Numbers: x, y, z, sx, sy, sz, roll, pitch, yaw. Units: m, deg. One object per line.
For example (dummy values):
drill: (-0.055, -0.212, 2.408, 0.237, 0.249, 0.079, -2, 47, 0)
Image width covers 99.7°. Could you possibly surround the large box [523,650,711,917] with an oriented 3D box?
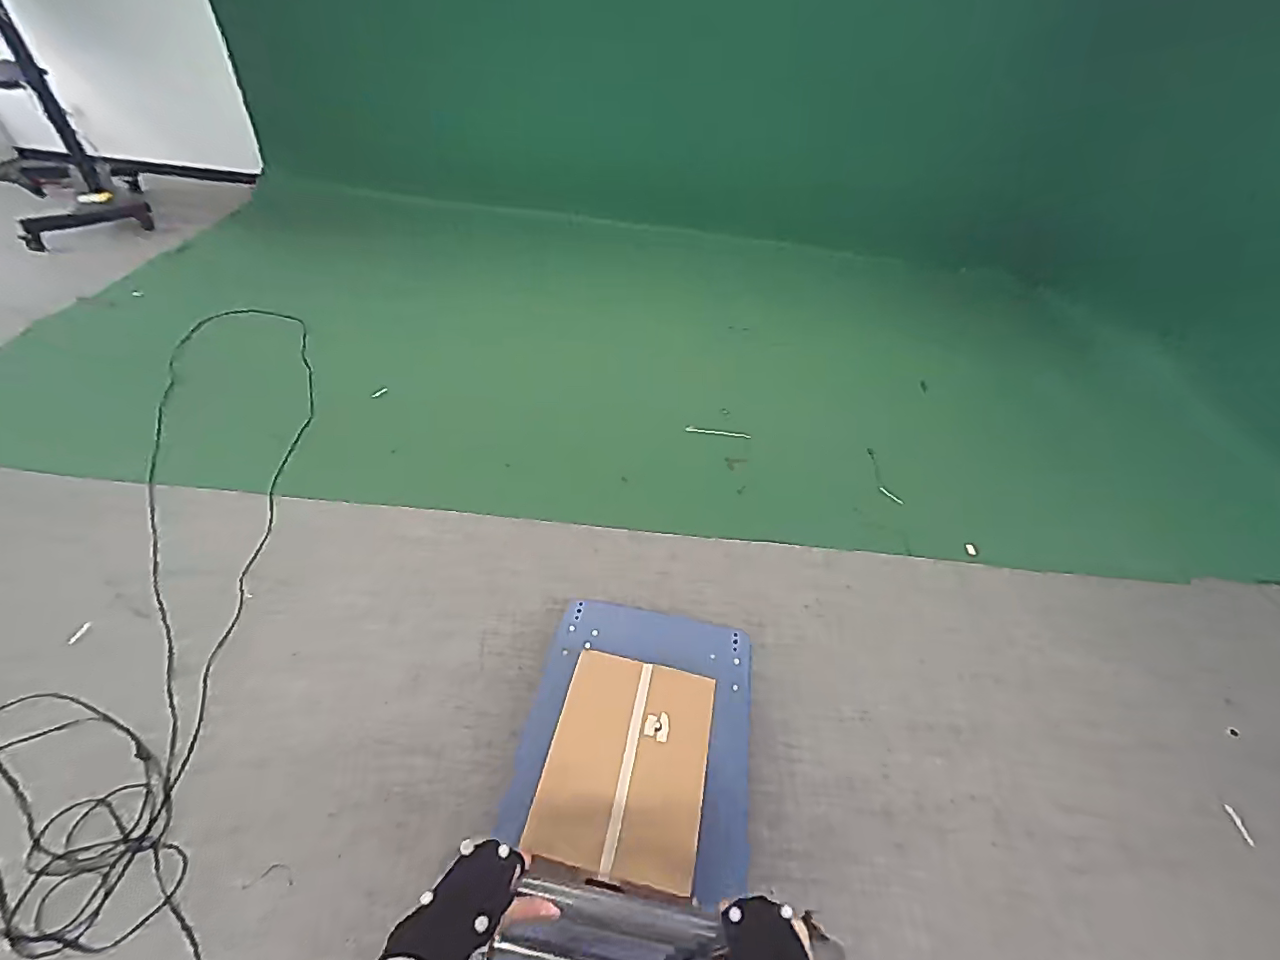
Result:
large box: (-0.039, 0.660, 1.191, 0.320, 0.320, 0.408, 13, 44, 4)
